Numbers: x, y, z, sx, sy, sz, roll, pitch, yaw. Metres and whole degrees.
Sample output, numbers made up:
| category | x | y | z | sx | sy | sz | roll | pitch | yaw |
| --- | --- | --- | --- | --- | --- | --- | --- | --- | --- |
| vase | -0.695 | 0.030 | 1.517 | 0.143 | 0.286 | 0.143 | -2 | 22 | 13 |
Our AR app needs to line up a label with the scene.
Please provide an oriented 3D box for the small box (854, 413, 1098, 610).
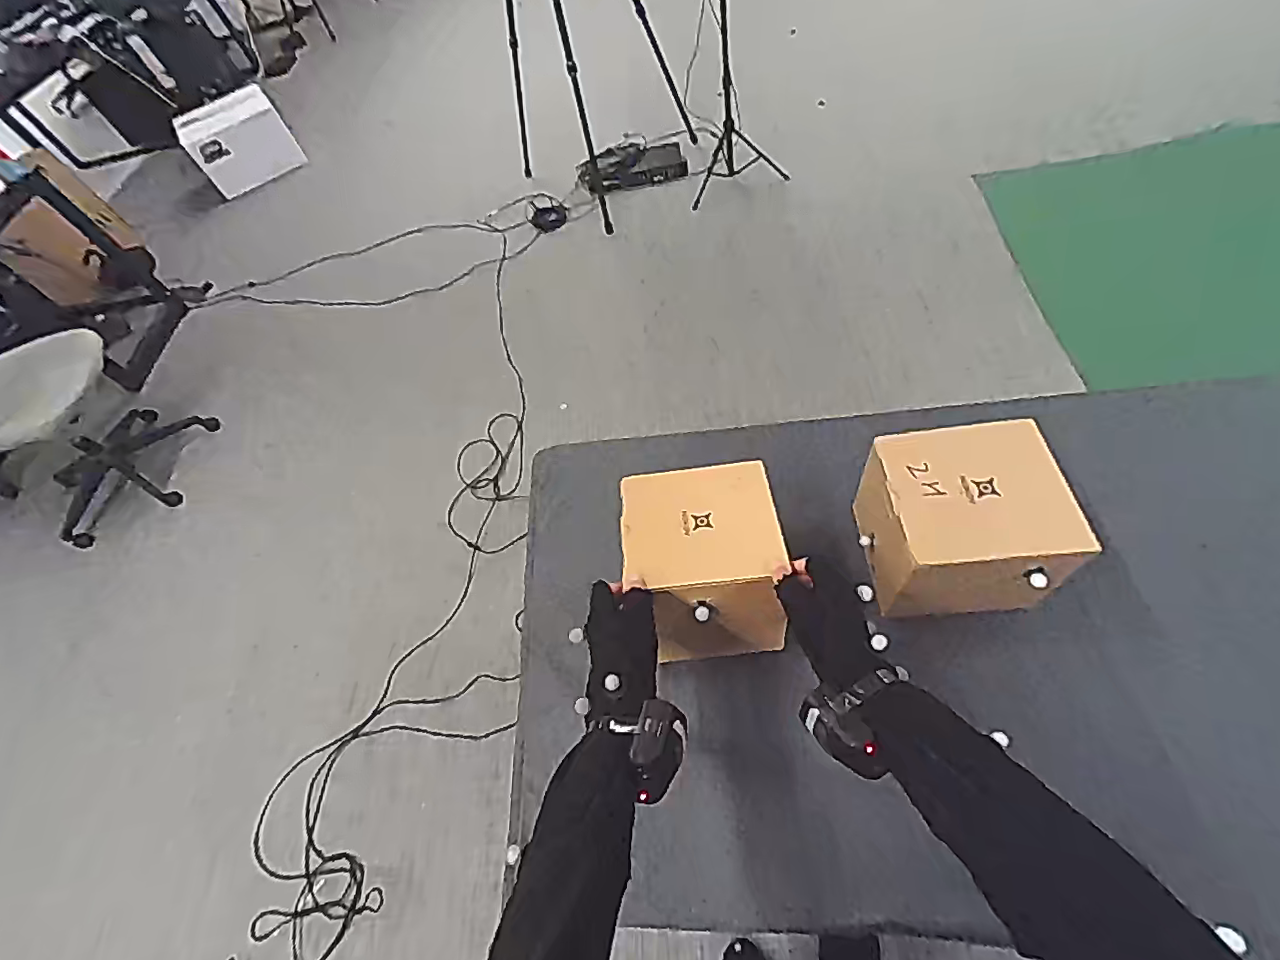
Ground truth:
| category | x | y | z | sx | sy | sz | roll | pitch | yaw |
| --- | --- | --- | --- | --- | --- | --- | --- | --- | --- |
| small box | 0.370 | 0.045 | 0.639 | 0.179 | 0.176 | 0.168 | -7 | 57 | 9 |
